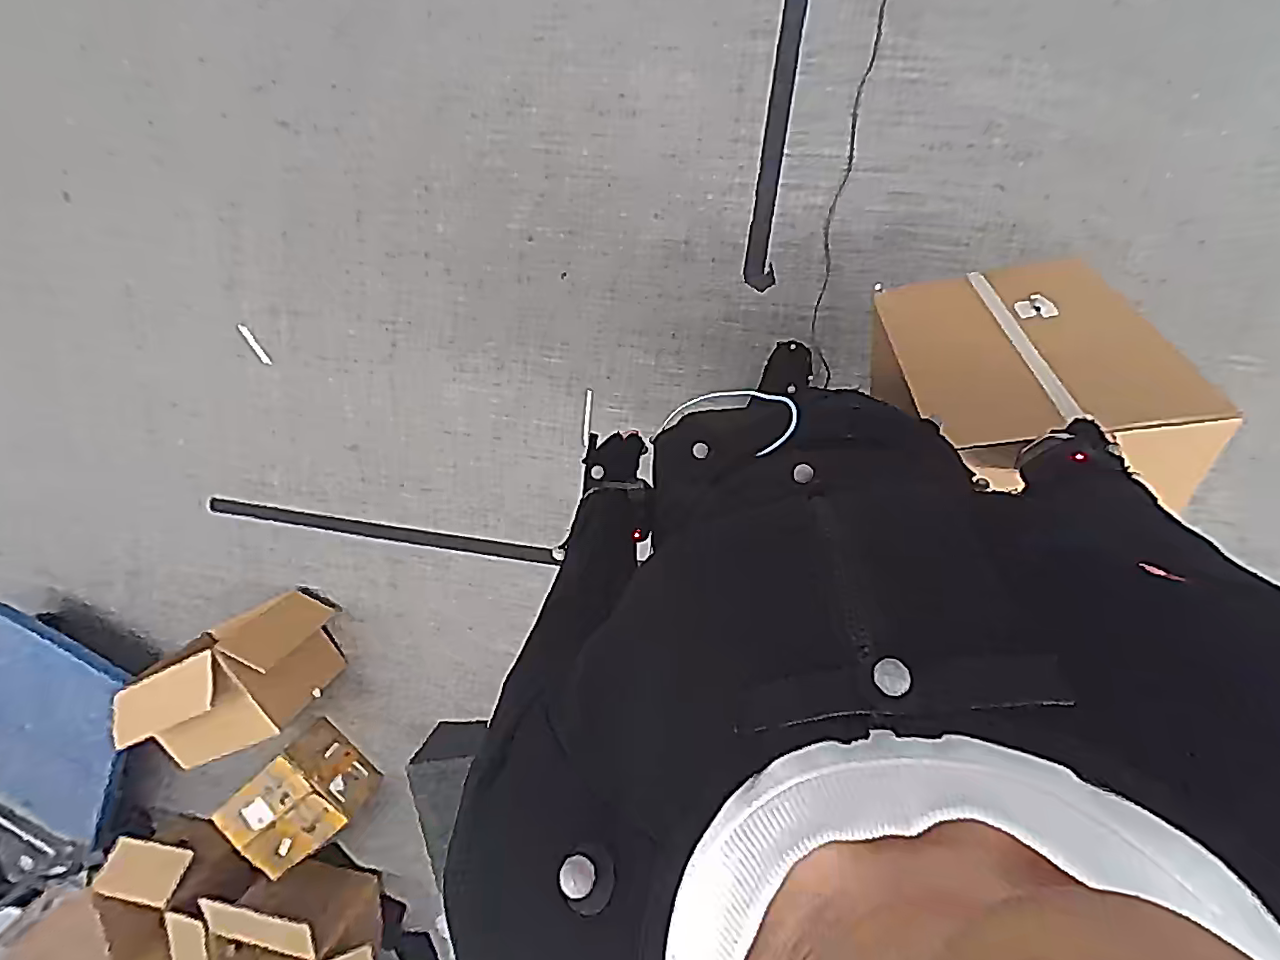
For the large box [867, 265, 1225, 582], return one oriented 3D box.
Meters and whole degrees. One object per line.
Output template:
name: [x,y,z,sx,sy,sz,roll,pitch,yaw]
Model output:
large box: [0.578,-0.090,0.888,0.320,0.408,0.320,-6,135,13]
